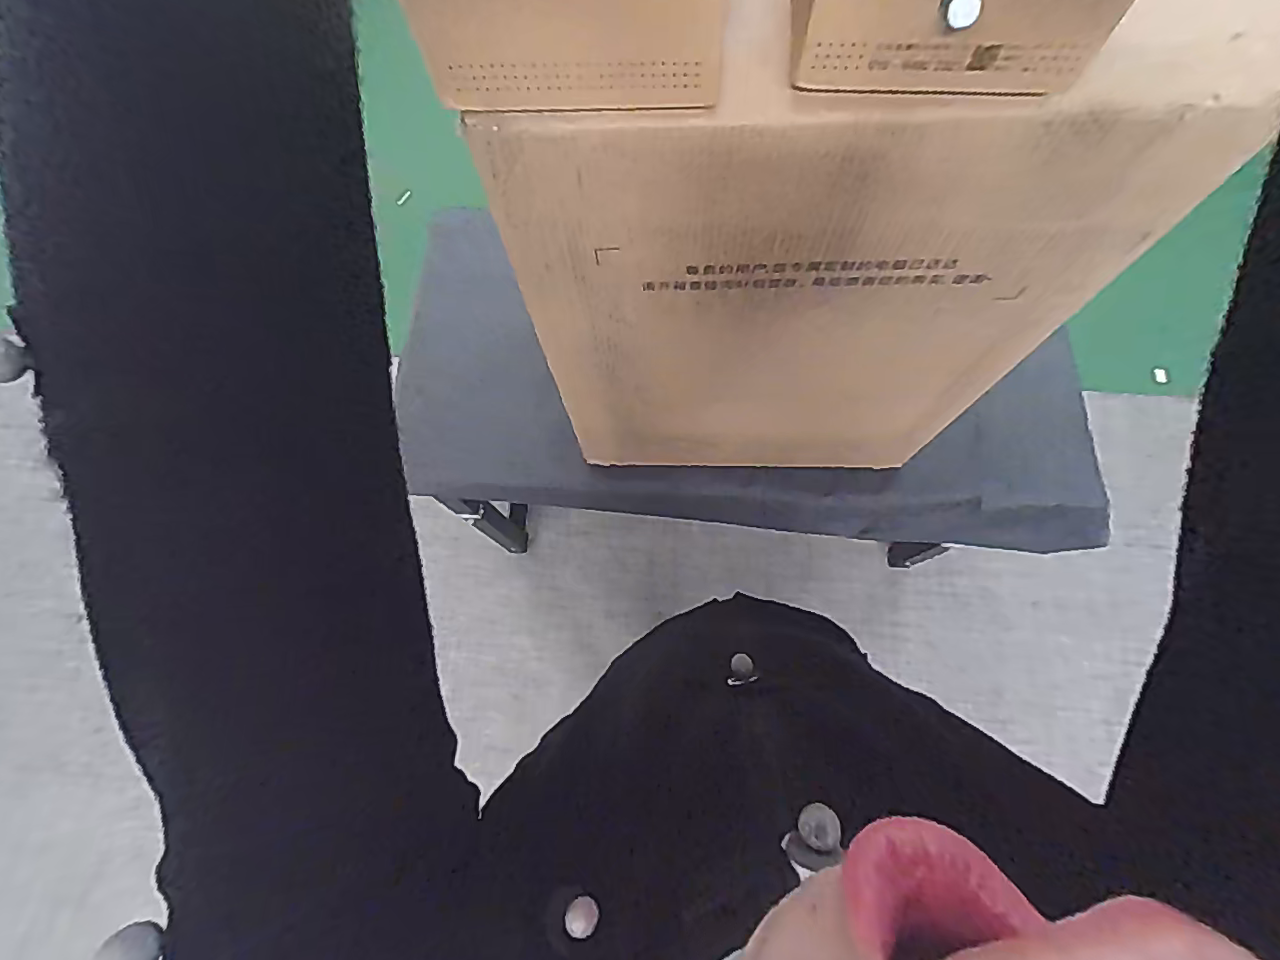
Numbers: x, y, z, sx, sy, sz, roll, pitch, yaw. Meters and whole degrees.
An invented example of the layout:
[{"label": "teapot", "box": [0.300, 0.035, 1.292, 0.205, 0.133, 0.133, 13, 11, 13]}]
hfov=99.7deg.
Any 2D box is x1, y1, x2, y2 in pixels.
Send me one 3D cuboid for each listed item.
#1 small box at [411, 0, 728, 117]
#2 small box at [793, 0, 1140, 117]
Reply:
[{"label": "small box", "box": [-0.037, -0.329, 0.288, 0.179, 0.176, 0.168, 2, 73, 2]}, {"label": "small box", "box": [0.181, -0.335, 0.282, 0.168, 0.176, 0.179, 4, 74, 3]}]
